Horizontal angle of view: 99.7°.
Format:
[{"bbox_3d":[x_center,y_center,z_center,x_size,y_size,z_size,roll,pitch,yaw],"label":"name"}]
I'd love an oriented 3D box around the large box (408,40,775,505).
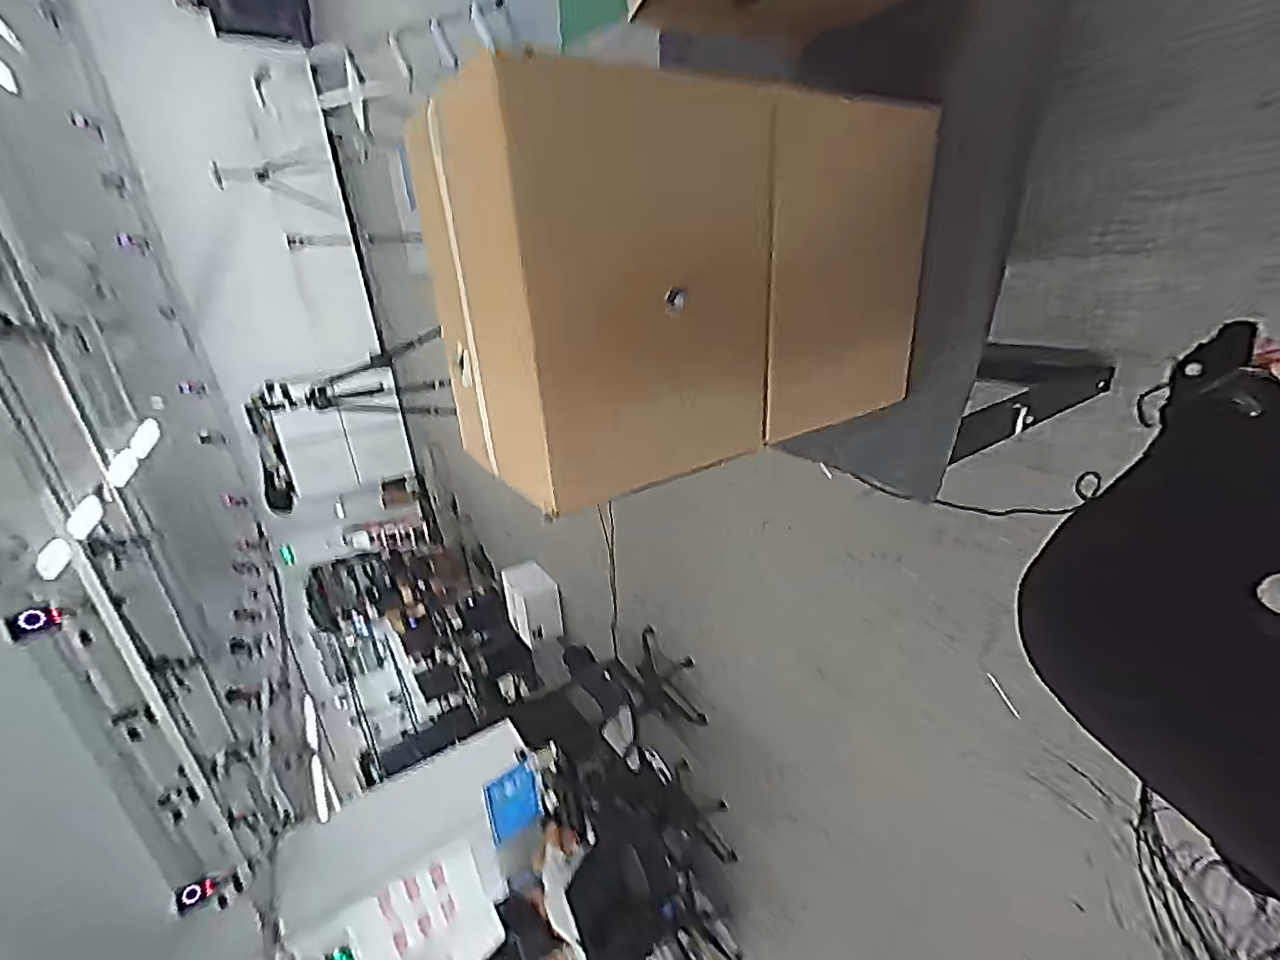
[{"bbox_3d":[-0.051,-0.238,0.677,0.320,0.320,0.408,26,128,51],"label":"large box"}]
